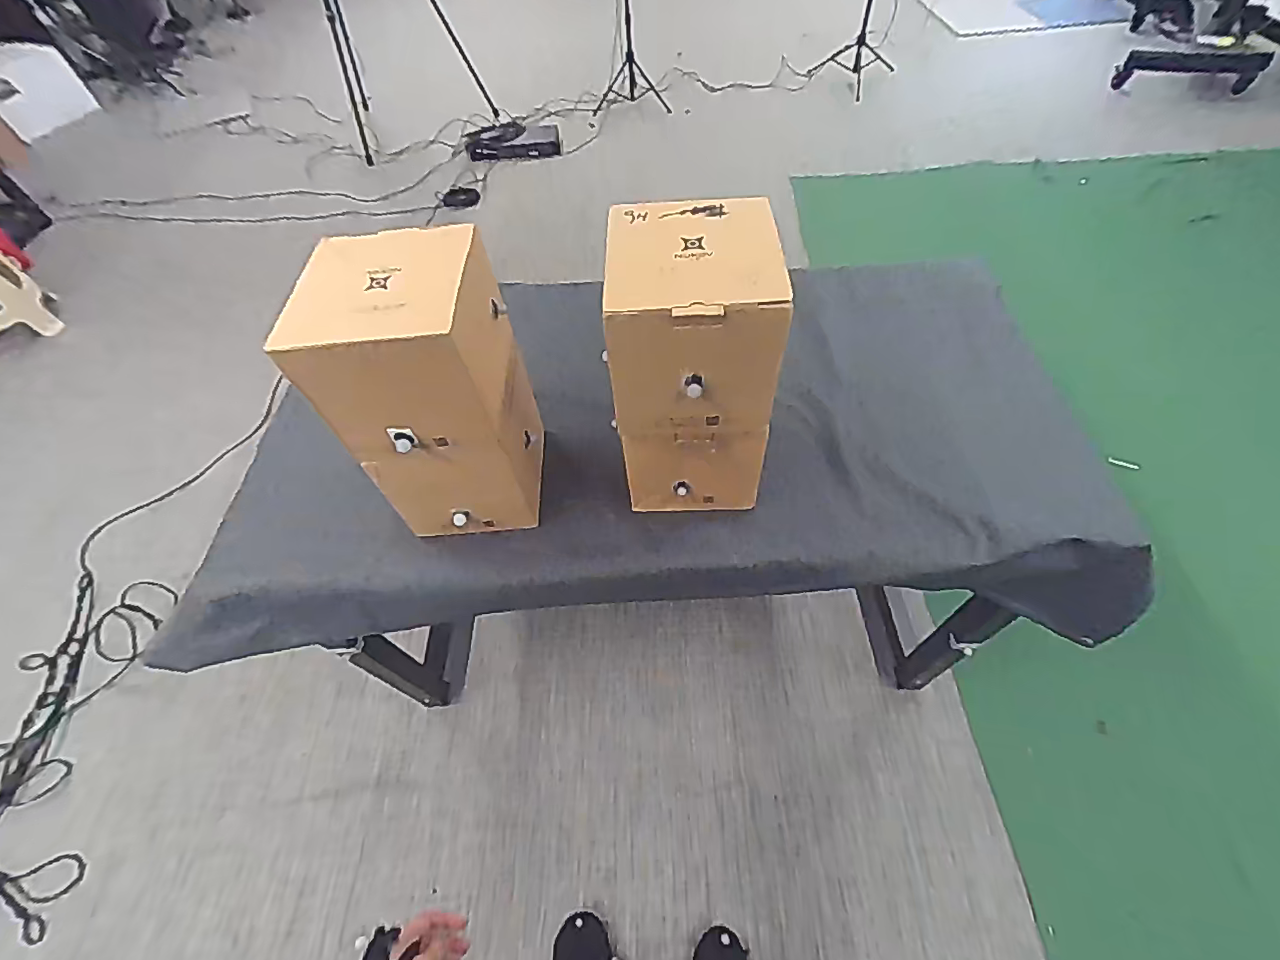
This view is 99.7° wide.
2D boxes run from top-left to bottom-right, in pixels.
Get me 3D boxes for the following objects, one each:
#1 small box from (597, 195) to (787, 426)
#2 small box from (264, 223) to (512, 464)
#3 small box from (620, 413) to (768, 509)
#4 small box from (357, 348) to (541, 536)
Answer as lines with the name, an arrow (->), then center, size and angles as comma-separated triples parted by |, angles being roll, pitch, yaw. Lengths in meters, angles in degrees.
small box -> 0.051, -0.168, 0.570 | 0.168, 0.176, 0.179 | -2, 56, 3
small box -> -0.239, -0.139, 0.570 | 0.168, 0.176, 0.179 | -6, 55, 2
small box -> 0.063, -0.079, 0.706 | 0.168, 0.176, 0.179 | -2, 55, 3
small box -> -0.229, -0.046, 0.702 | 0.168, 0.176, 0.179 | -5, 55, 1
